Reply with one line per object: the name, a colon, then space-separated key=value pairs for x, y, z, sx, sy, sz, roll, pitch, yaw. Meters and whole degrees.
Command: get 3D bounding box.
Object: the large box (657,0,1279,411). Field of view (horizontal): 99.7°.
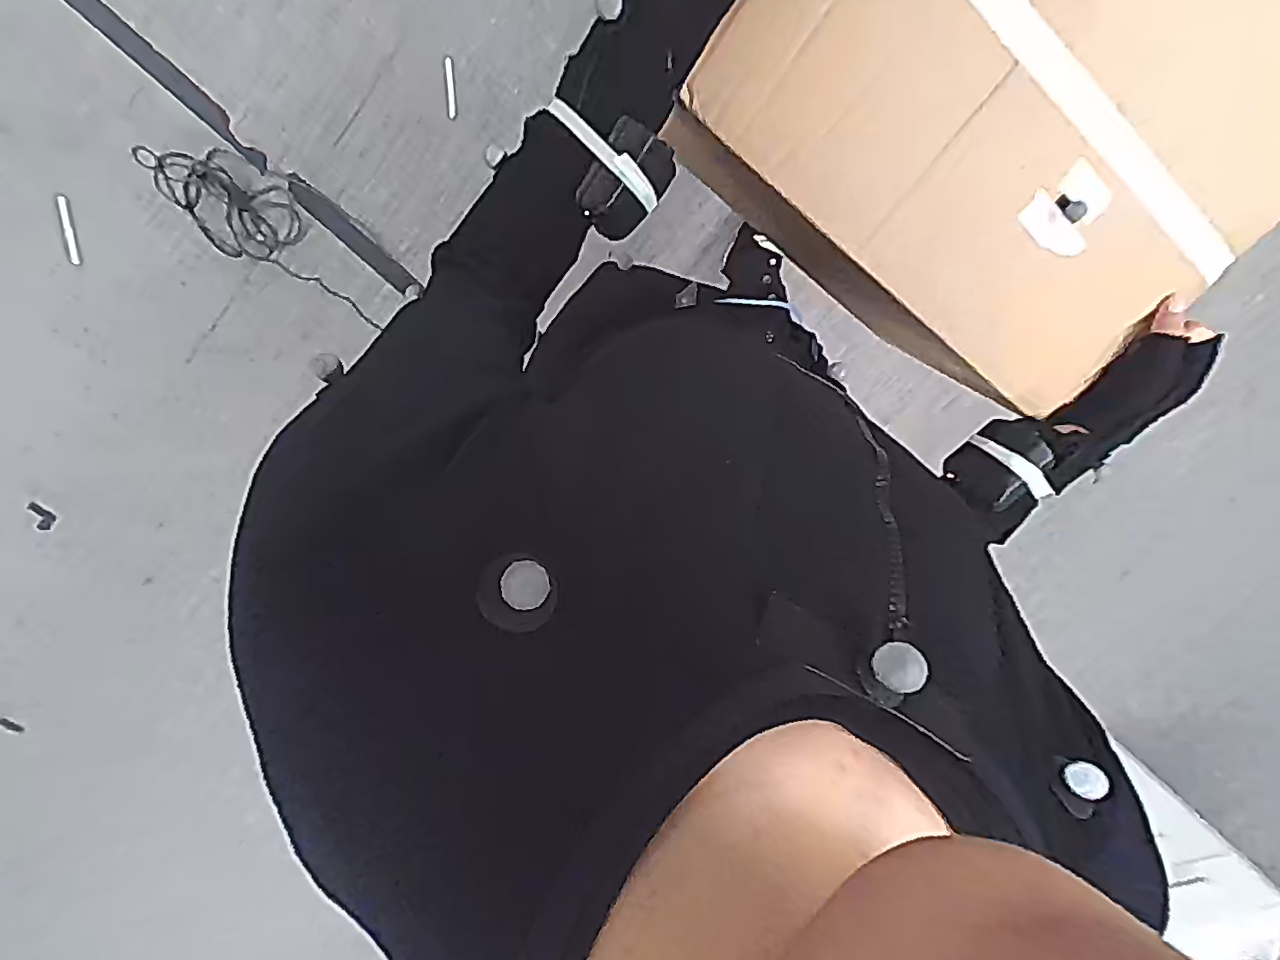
large box: x=0.270 y=-0.337 z=0.504 sx=0.408 sy=0.320 sz=0.320 roll=32 pitch=113 yaw=-18
